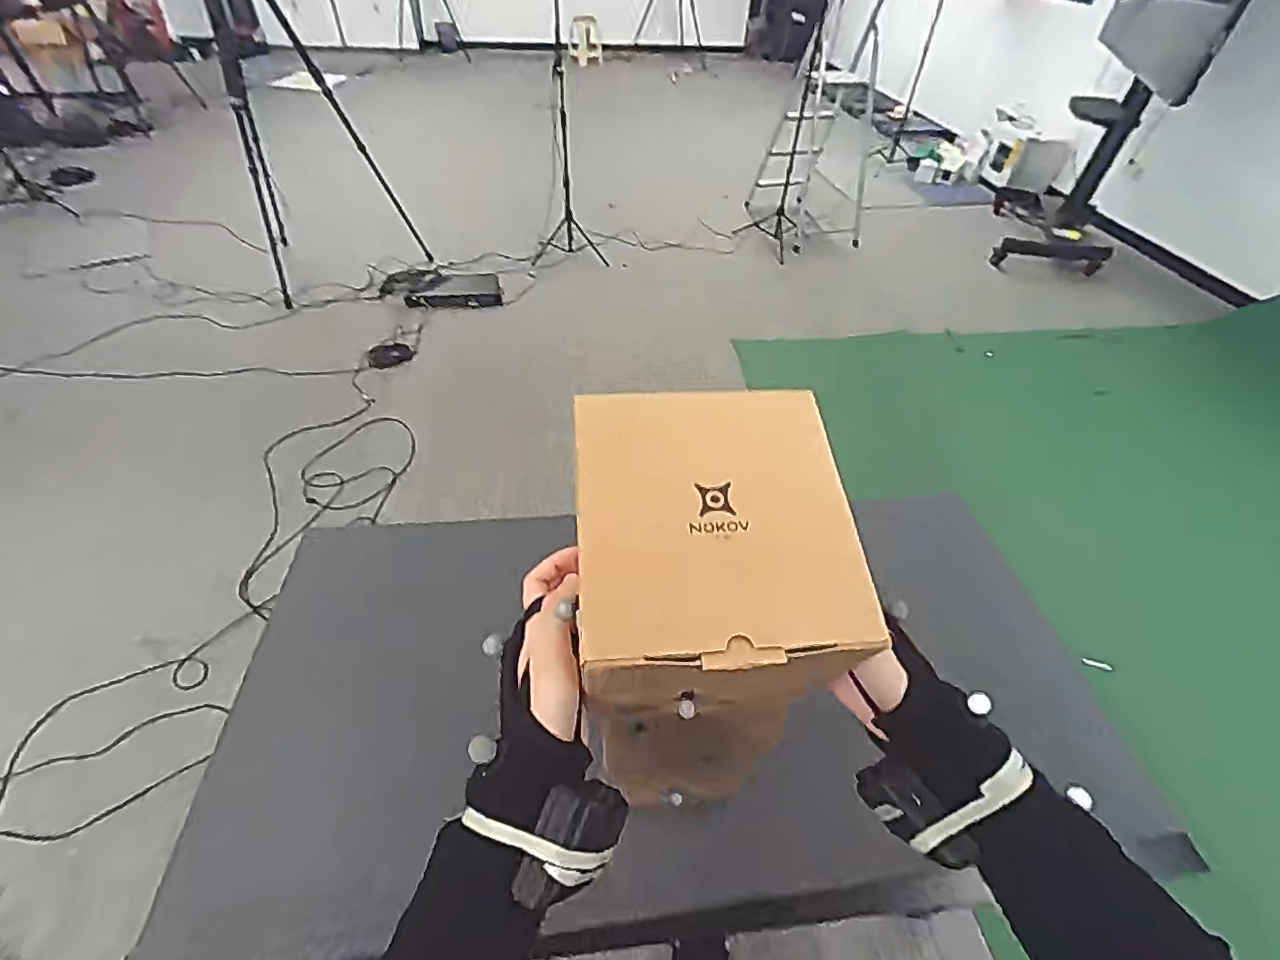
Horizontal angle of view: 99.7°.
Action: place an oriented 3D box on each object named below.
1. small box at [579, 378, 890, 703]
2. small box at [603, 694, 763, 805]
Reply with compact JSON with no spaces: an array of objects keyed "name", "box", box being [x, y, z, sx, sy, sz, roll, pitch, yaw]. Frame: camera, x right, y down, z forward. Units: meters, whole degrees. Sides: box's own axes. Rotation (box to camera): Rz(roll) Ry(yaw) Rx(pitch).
[{"name":"small box","box":[0.040,0.047,0.390,0.168,0.176,0.179,-2,57,-6]},{"name":"small box","box":[0.037,0.274,0.663,0.168,0.176,0.179,-2,46,-4]}]
